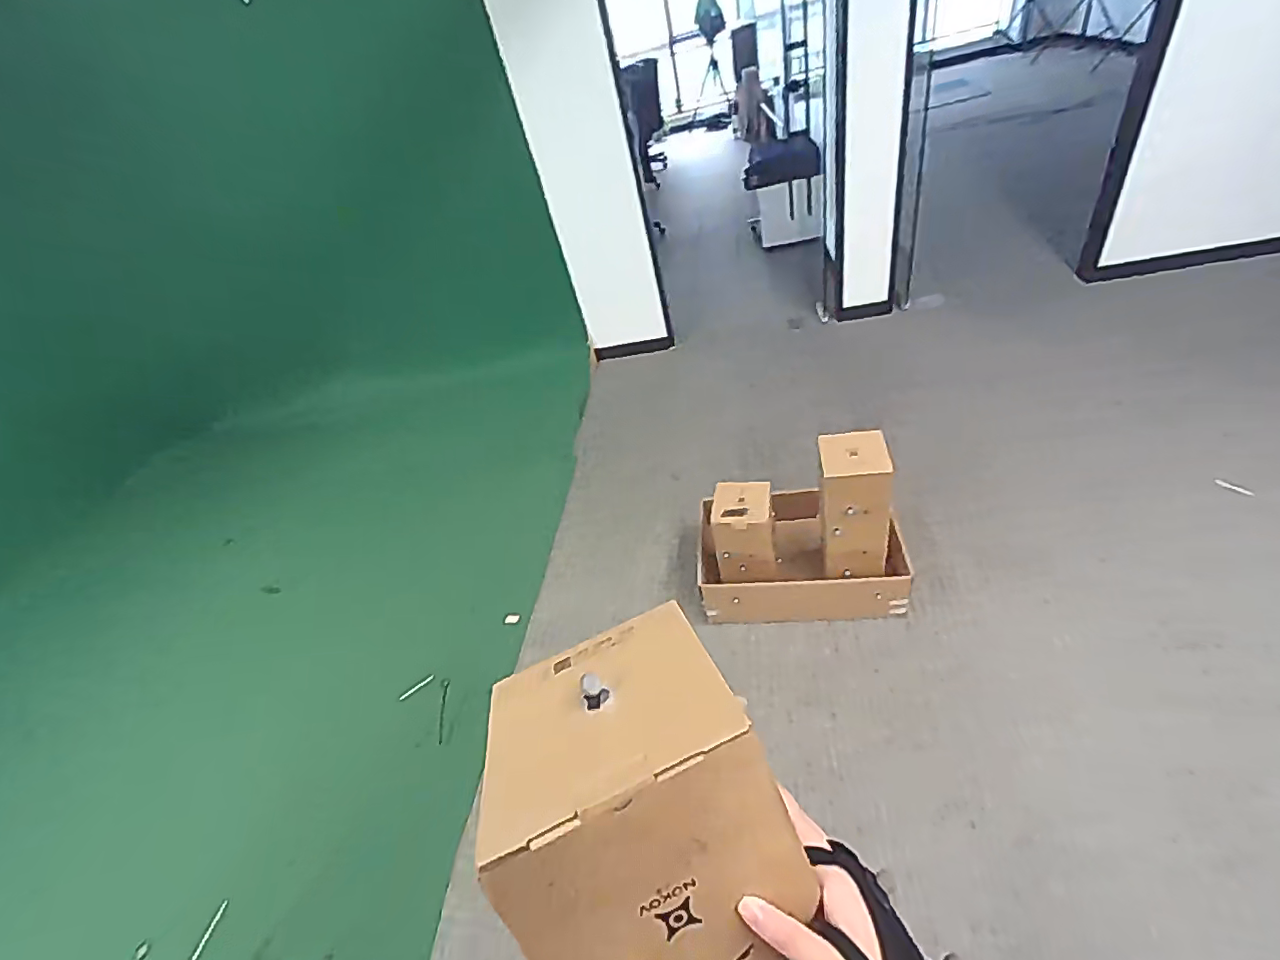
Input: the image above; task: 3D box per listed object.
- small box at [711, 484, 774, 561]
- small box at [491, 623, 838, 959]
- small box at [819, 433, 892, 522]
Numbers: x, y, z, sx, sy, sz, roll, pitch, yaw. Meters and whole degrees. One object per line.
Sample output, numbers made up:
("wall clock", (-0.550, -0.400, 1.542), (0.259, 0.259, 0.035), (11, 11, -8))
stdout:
("small box", (0.319, 0.131, 1.655), (0.168, 0.176, 0.179), (-1, 41, 17))
("small box", (0.007, 0.227, 0.391), (0.168, 0.179, 0.176), (-23, 15, -5))
("small box", (0.579, -0.006, 1.471), (0.168, 0.176, 0.179), (-5, 41, 16))
